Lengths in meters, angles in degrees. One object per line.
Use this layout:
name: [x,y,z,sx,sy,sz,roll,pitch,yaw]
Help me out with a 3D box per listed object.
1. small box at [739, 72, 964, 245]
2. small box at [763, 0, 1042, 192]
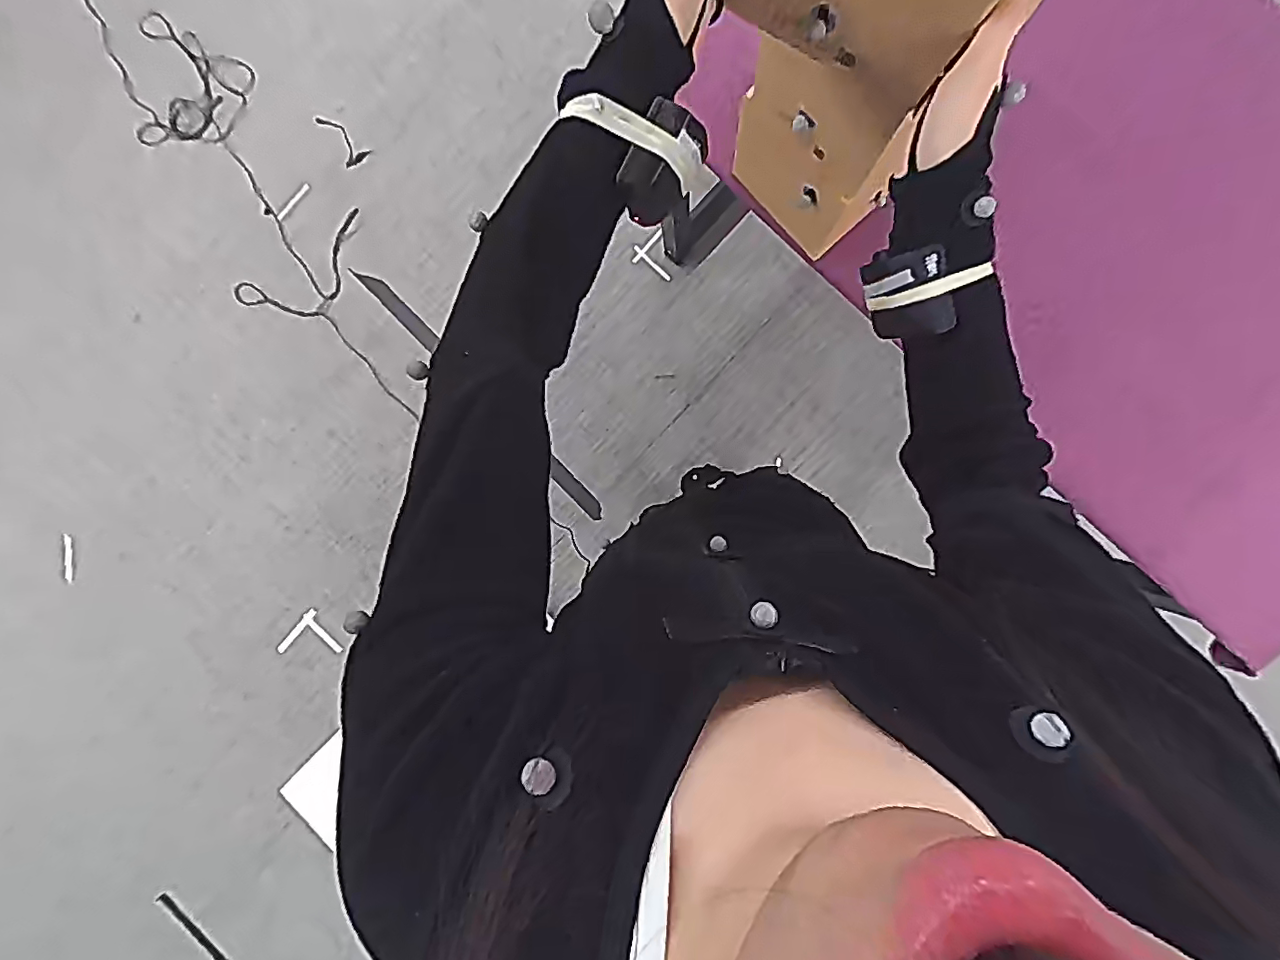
small box: [0.242,-0.422,0.670,0.168,0.176,0.179,-41,87,5]
small box: [0.236,-0.421,0.506,0.179,0.176,0.168,-42,88,6]
